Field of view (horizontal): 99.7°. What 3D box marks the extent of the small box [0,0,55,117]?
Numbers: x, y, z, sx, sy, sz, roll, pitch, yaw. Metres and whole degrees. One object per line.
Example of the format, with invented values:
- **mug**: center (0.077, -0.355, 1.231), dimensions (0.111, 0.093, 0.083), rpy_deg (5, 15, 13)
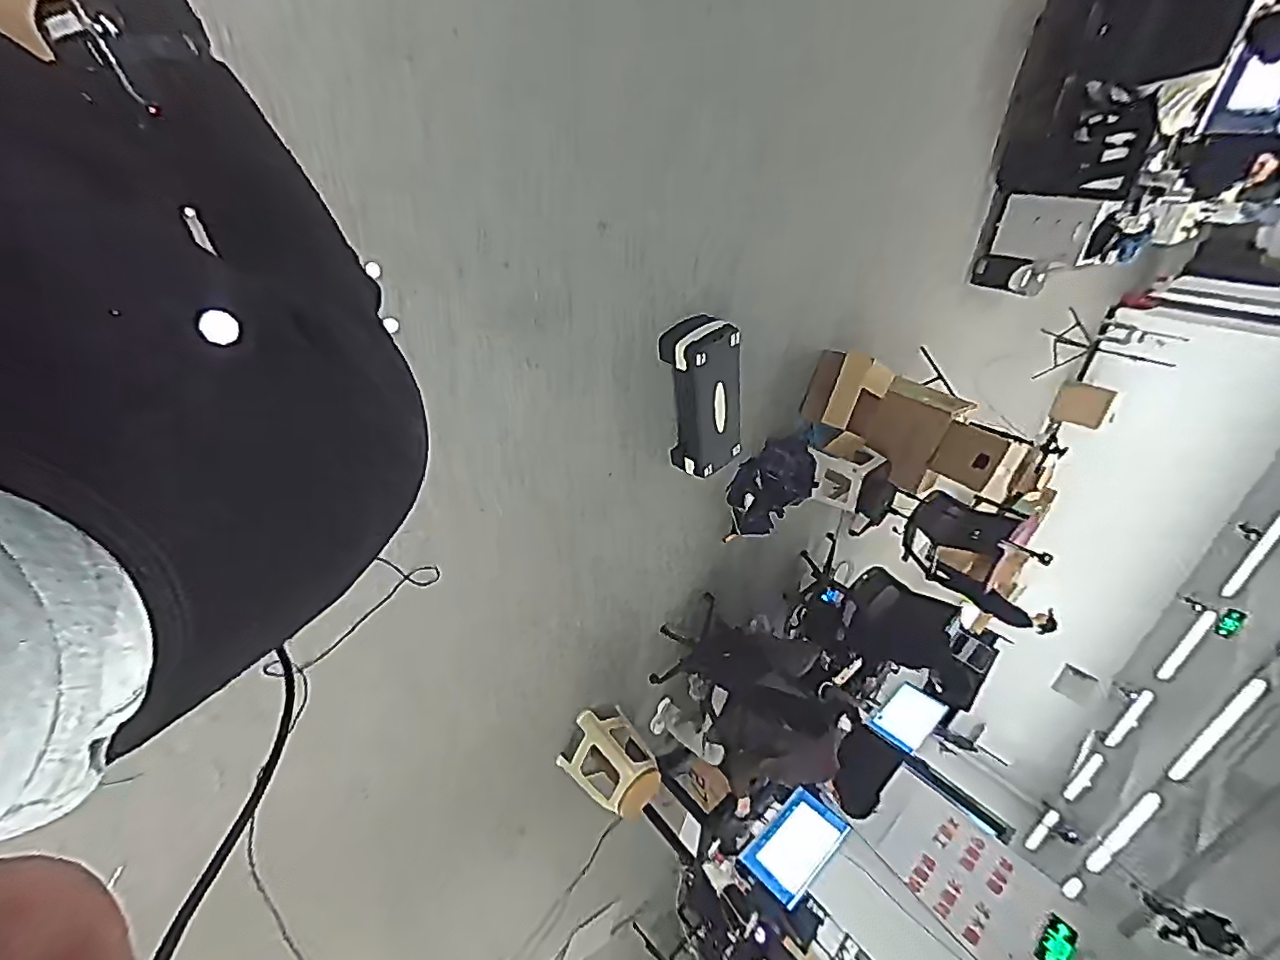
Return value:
- **small box**: center (-1.044, -0.690, 0.838), dimensions (0.168, 0.176, 0.179), rpy_deg (-10, 122, -42)
